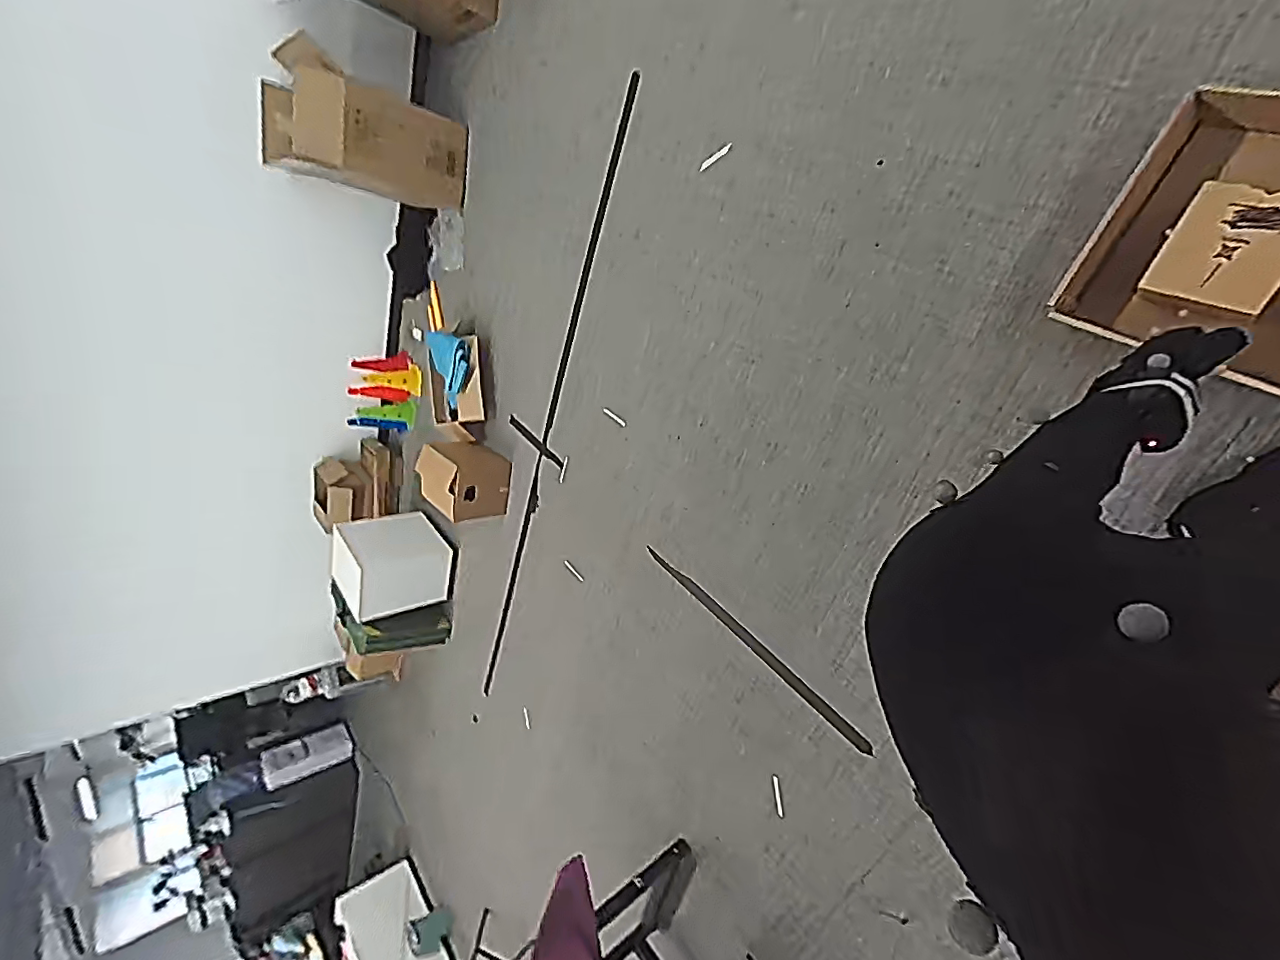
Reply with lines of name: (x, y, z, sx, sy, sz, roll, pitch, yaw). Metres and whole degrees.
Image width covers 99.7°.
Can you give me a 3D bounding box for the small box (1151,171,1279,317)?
small box: (1.015, -0.390, 0.912, 0.168, 0.176, 0.179, 37, 121, 36)
